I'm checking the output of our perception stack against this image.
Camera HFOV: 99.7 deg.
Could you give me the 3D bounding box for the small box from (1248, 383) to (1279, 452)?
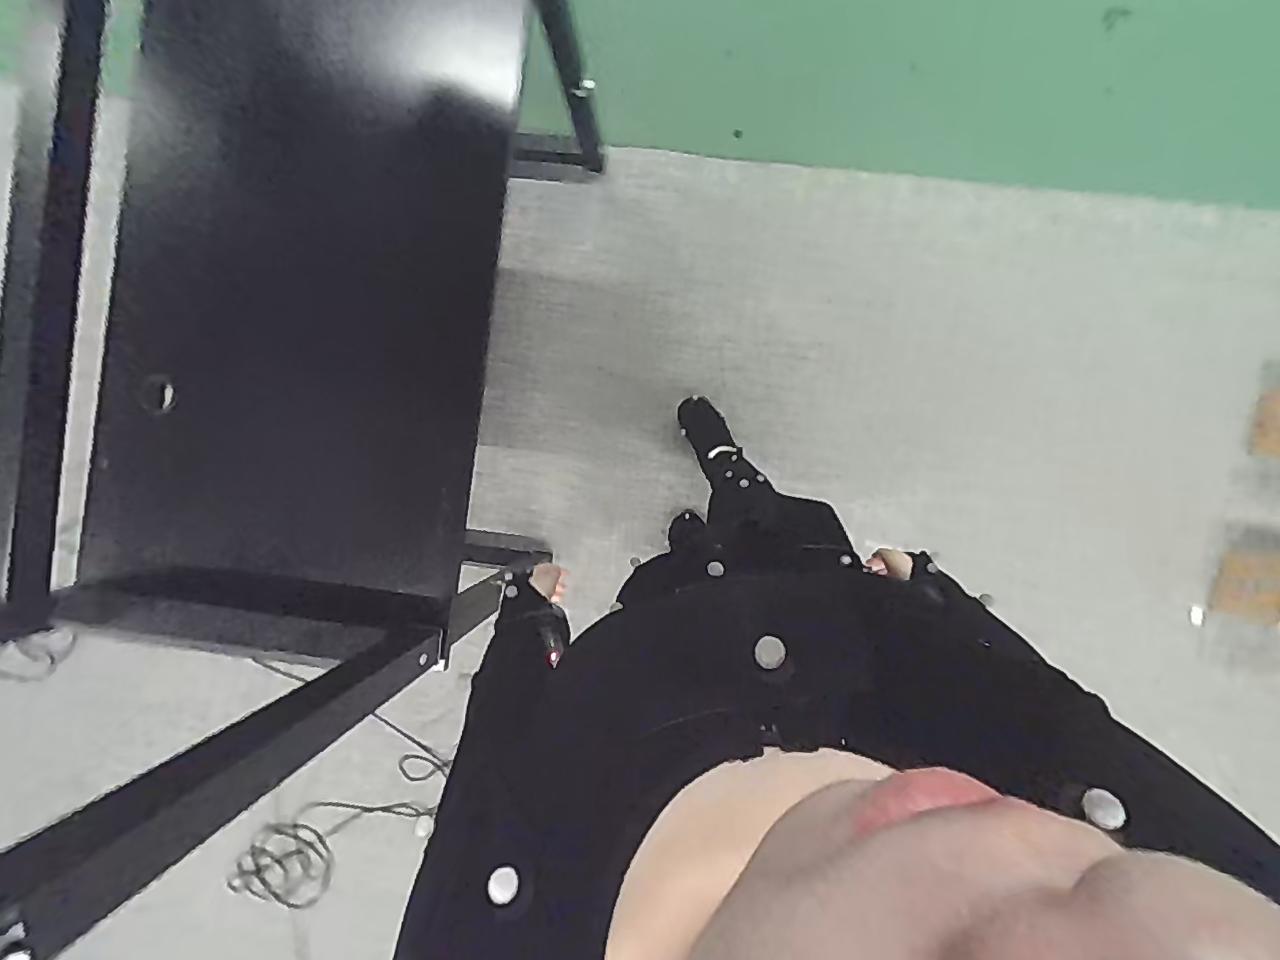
[{"bbox_3d":[1.655,-0.147,1.305,0.179,0.176,0.168,12,92,5],"label":"small box"}]
